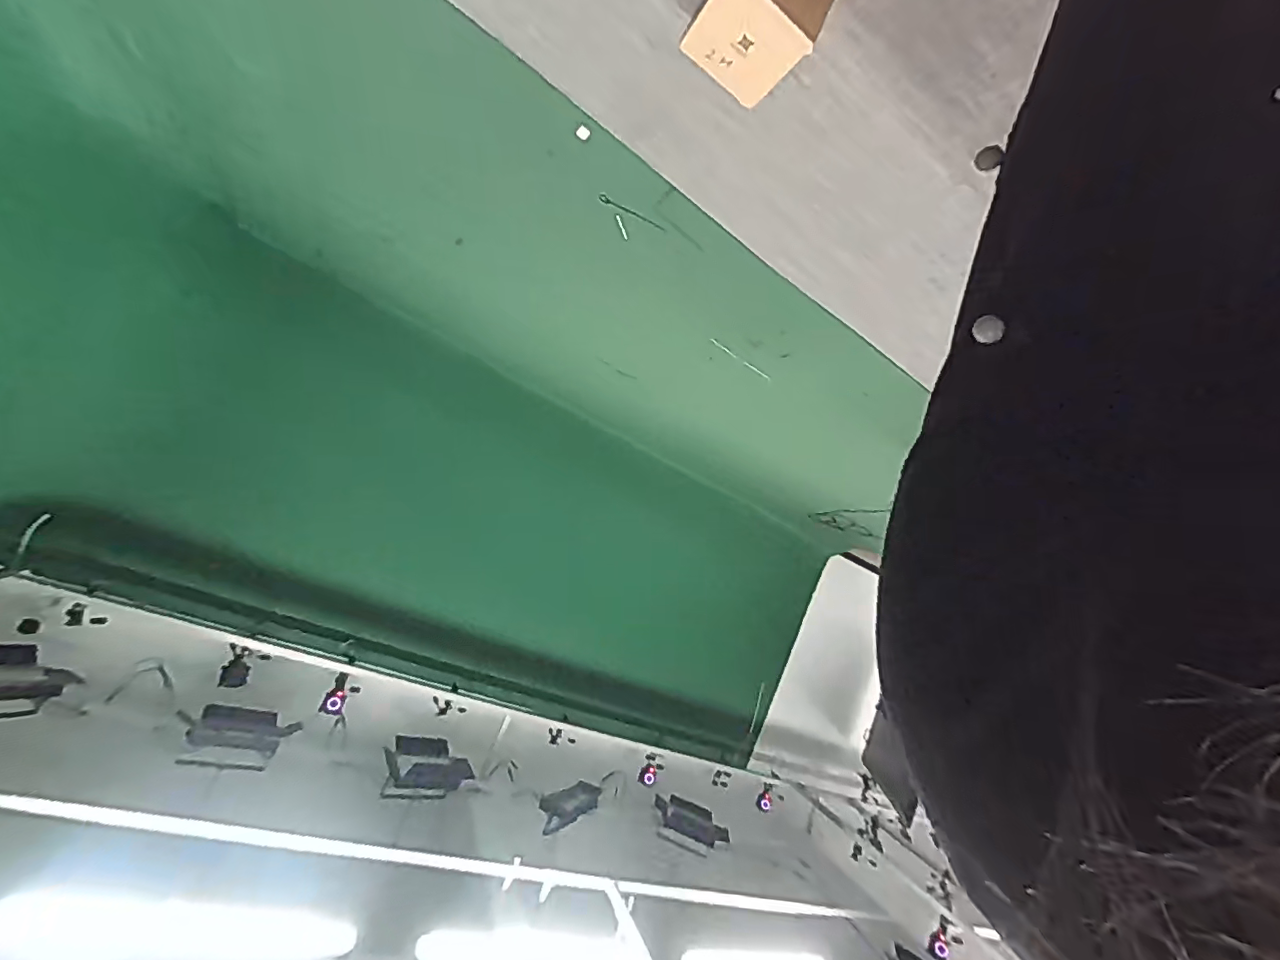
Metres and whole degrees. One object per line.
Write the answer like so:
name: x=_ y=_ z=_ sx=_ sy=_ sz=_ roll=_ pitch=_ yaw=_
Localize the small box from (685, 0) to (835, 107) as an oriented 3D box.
small box: x=0.207 y=-0.788 z=0.896 sx=0.168 sy=0.176 sz=0.179 roll=28 pitch=172 yaw=-22
